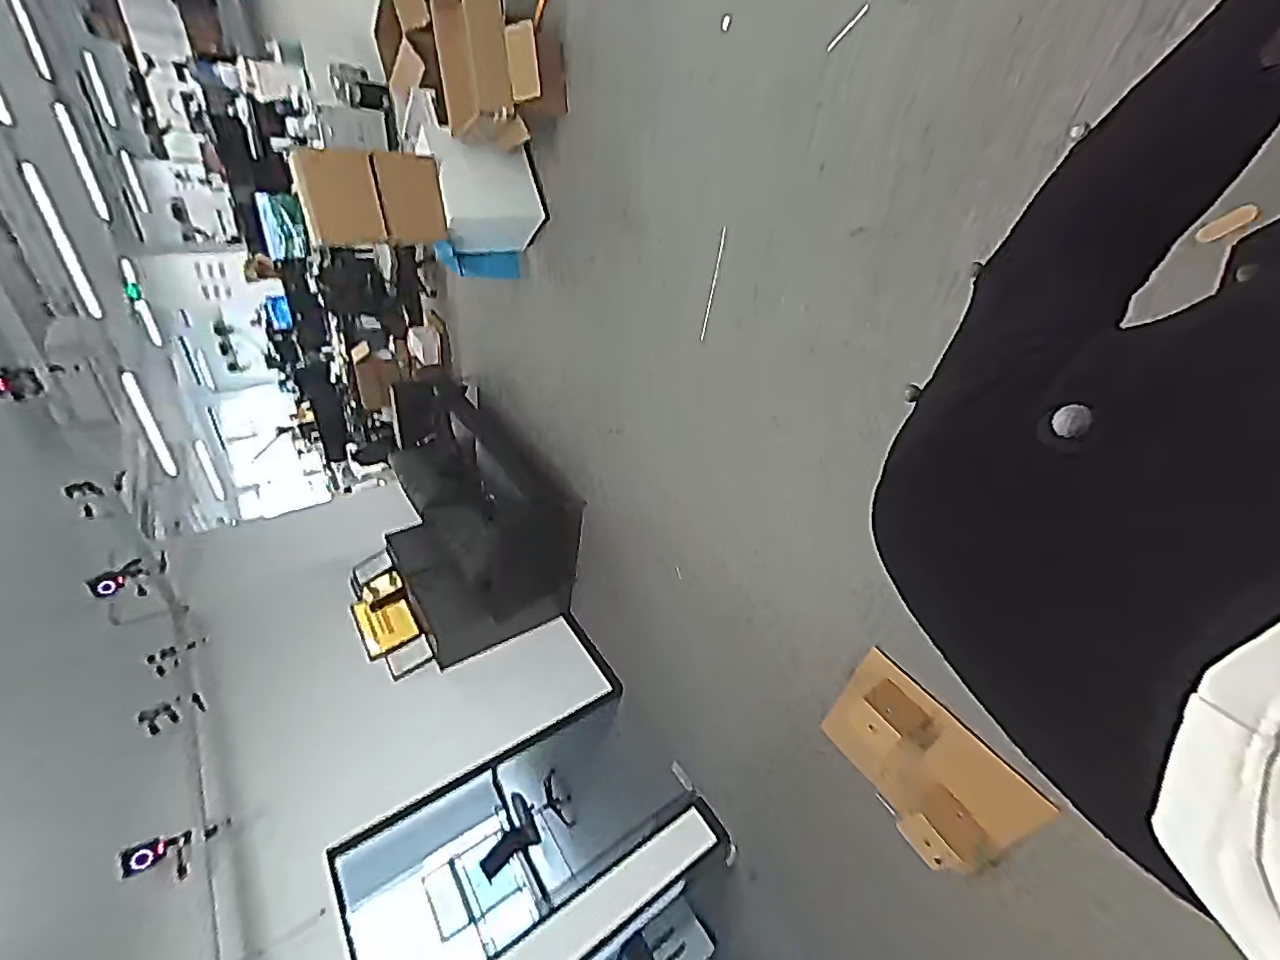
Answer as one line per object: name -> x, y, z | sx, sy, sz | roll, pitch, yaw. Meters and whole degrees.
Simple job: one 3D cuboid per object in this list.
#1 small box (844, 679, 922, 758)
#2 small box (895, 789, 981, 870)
small box -> 0.908, 0.881, 2.011 | 0.179, 0.176, 0.168 | 45, 138, 35
small box -> 1.069, 1.245, 1.940 | 0.179, 0.176, 0.168 | 51, 142, 30
